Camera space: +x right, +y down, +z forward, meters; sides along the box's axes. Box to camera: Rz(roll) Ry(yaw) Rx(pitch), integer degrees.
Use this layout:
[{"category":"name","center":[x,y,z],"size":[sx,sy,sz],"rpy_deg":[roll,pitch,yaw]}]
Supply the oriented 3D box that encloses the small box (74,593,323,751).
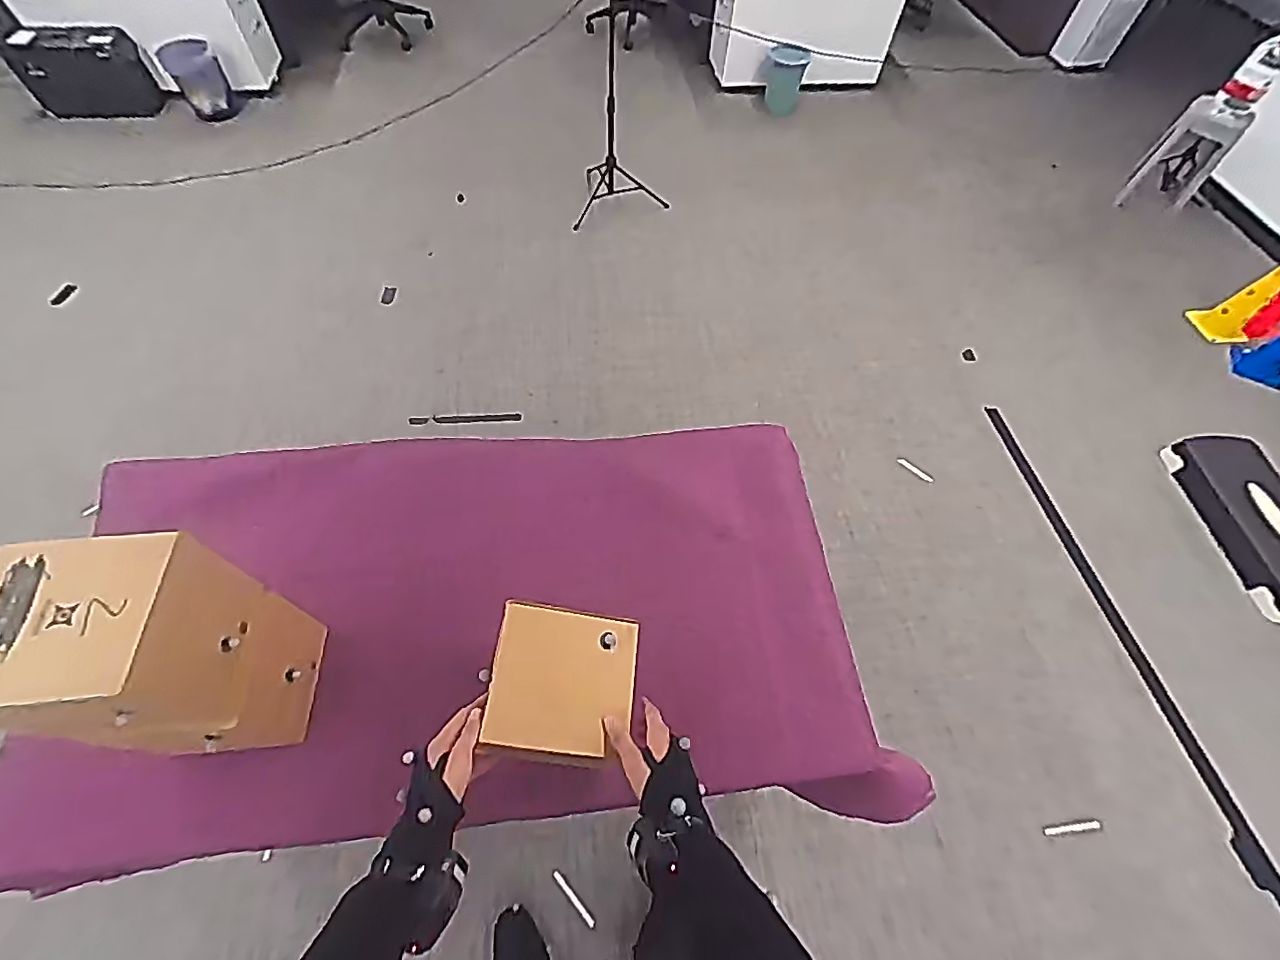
[{"category":"small box","center":[-0.560,0.260,0.722],"size":[0.179,0.176,0.168],"rpy_deg":[-2,58,-5]}]

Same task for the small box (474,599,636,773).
[{"category":"small box","center":[-0.115,0.278,0.714],"size":[0.179,0.168,0.176],"rpy_deg":[14,57,-10]}]
